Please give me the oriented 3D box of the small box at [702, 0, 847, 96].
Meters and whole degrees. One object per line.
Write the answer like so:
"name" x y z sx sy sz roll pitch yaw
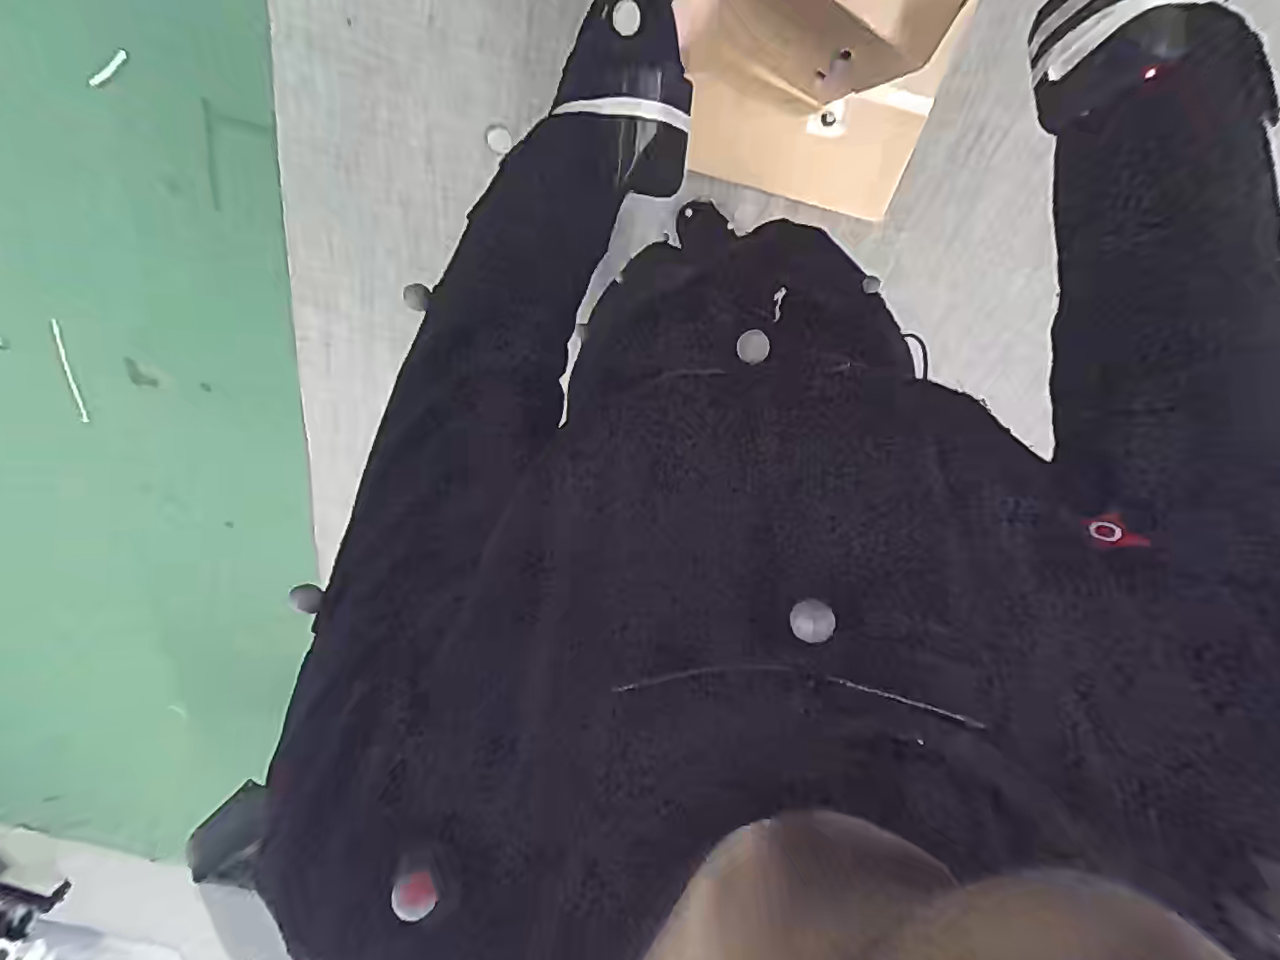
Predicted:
"small box" 0.171 -0.505 0.523 0.179 0.176 0.168 23 119 -10

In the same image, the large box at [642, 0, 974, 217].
"large box" 0.235 -0.660 0.896 0.408 0.320 0.320 13 122 -3

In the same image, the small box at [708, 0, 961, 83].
"small box" 0.155 -0.419 0.386 0.179 0.176 0.168 25 118 -9
